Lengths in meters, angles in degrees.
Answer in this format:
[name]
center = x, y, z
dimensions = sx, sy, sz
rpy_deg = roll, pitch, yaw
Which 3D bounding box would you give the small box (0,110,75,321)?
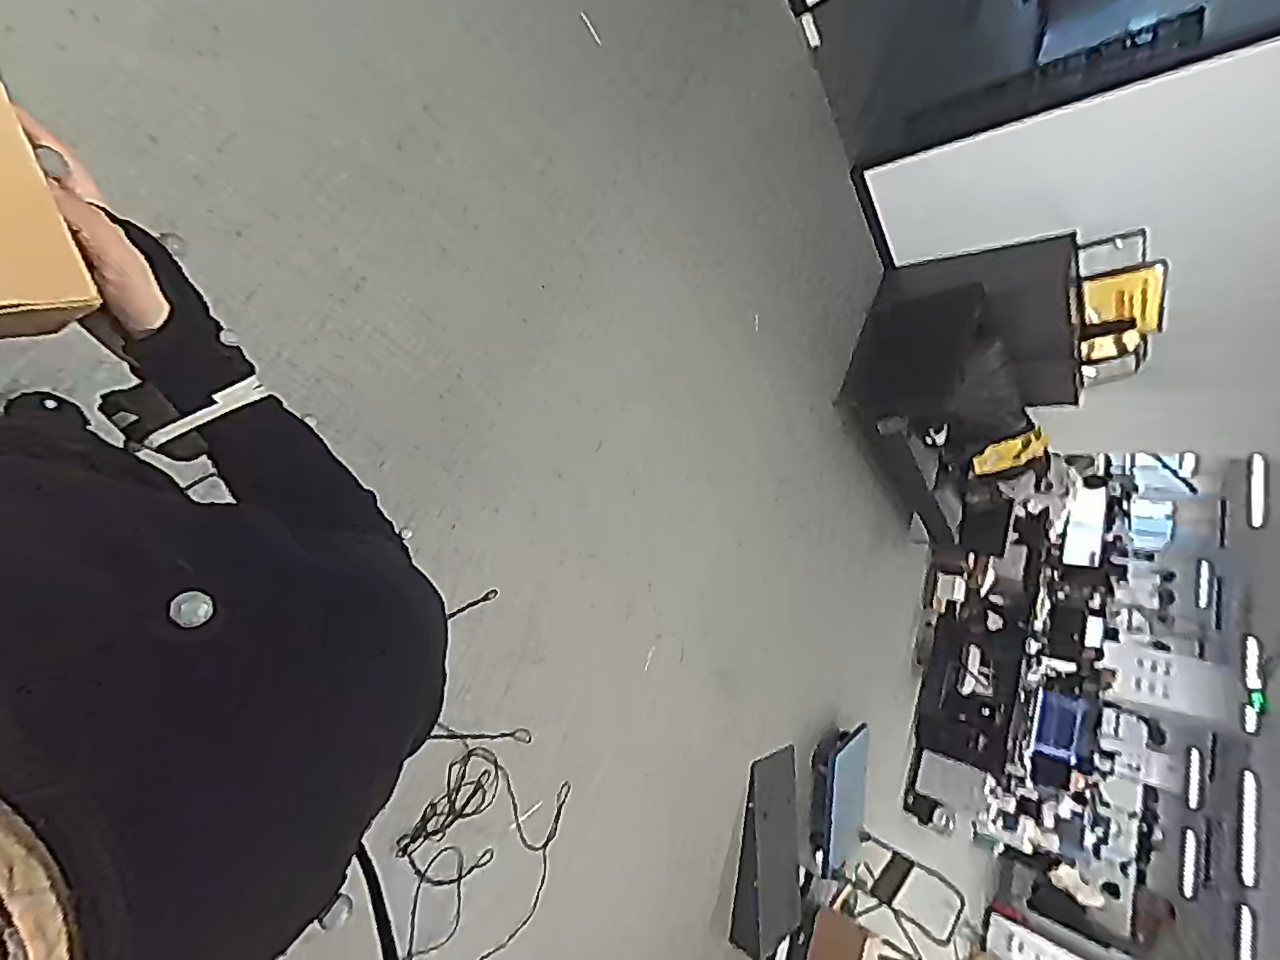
[small box]
center = -0.421, -0.162, 0.245
dimensions = 0.168, 0.176, 0.179
rpy_deg = -31, 119, -47
